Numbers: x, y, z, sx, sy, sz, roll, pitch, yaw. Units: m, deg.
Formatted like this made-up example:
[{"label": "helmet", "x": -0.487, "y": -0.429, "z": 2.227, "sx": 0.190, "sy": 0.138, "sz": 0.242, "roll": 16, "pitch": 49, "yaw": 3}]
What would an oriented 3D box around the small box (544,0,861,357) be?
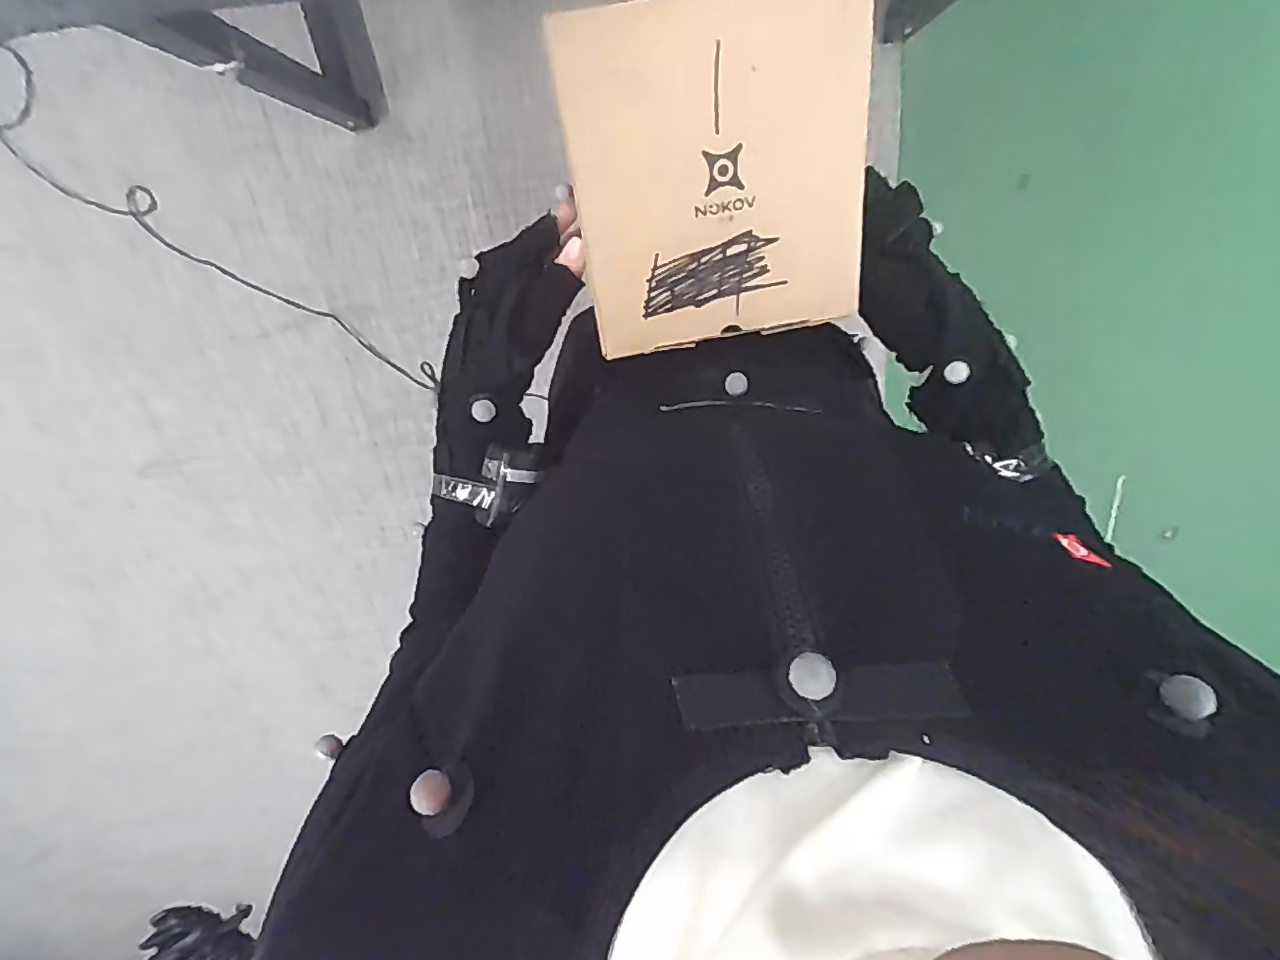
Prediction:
[{"label": "small box", "x": 0.035, "y": -0.207, "z": 0.384, "sx": 0.168, "sy": 0.176, "sz": 0.179, "roll": -9, "pitch": 120, "yaw": -1}]
